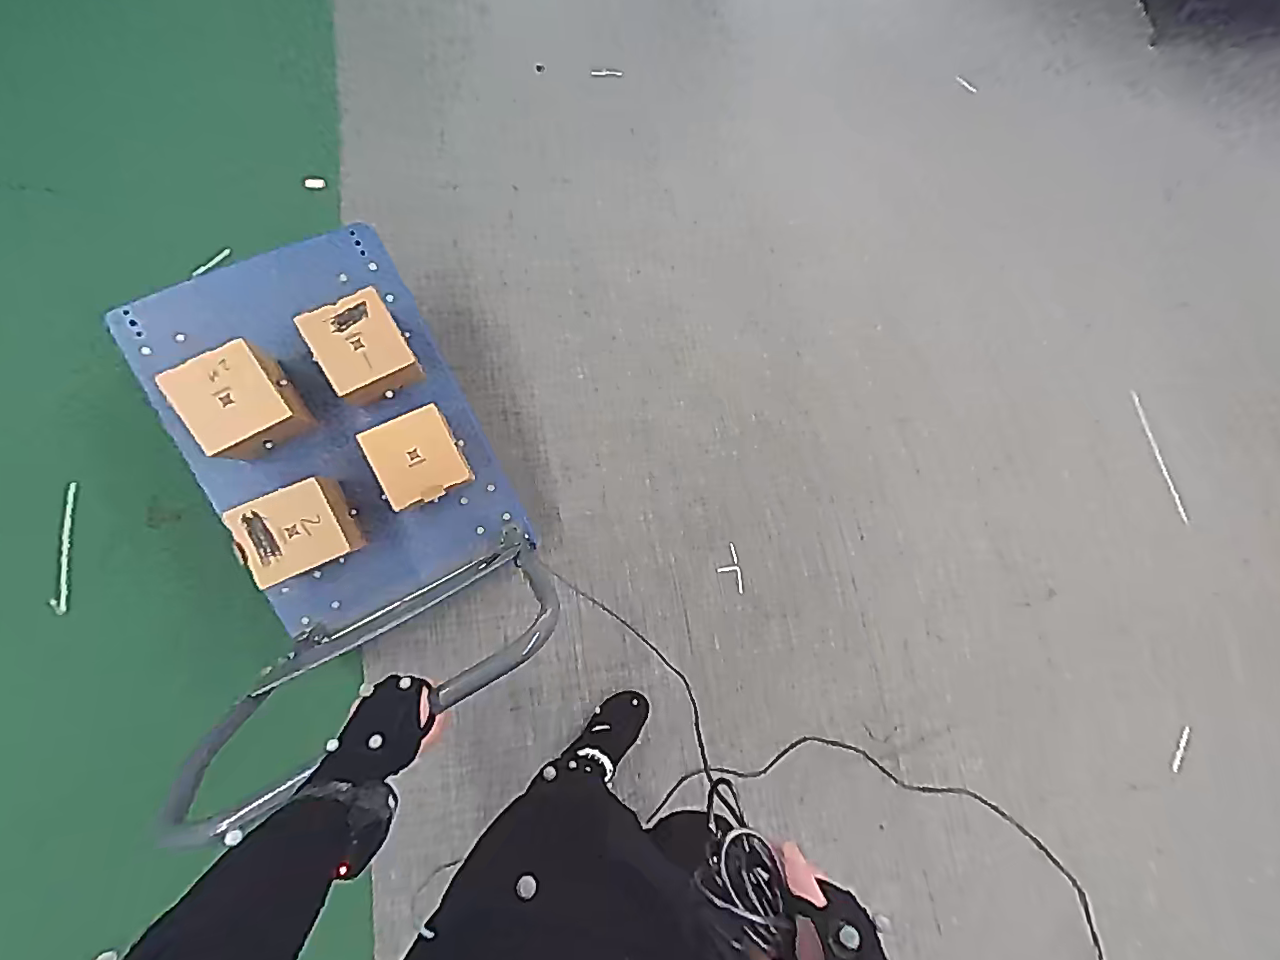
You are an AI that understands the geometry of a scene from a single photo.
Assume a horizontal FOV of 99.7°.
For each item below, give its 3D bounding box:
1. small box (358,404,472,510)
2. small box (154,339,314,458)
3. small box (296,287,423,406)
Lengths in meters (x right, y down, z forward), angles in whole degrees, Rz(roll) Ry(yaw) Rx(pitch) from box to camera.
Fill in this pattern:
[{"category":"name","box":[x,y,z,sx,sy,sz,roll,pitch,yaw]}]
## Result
[{"category":"small box","box":[-0.482,-0.046,1.184,0.168,0.176,0.179,-27,96,-14]},{"category":"small box","box":[-0.806,-0.157,1.099,0.168,0.176,0.179,-32,97,-14]},{"category":"small box","box":[-0.589,-0.278,1.159,0.168,0.176,0.179,-29,97,-13]}]
